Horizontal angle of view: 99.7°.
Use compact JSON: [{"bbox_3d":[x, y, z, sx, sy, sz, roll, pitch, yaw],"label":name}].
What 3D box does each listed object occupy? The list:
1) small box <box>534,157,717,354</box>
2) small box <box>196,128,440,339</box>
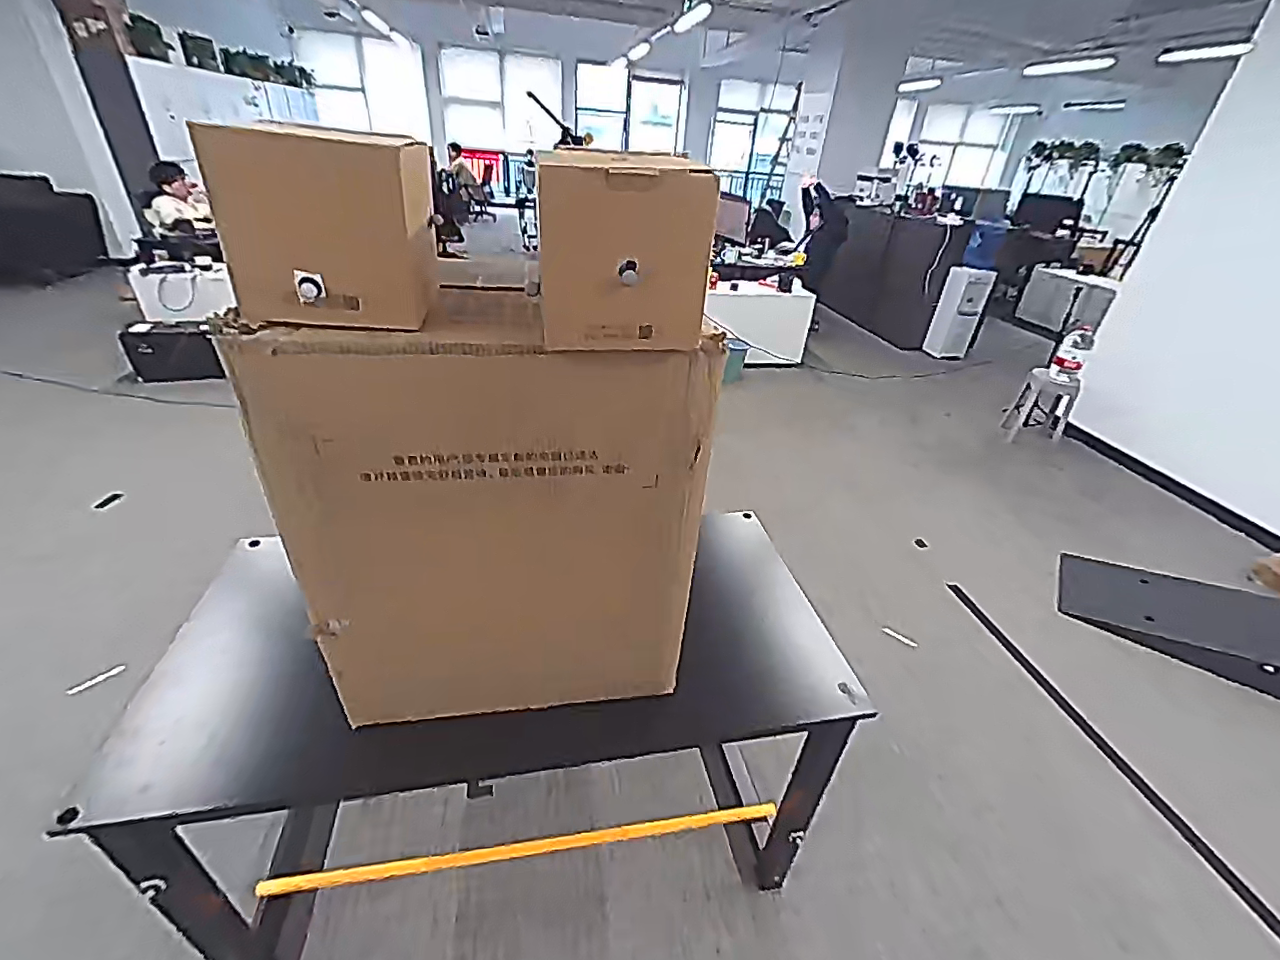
[{"bbox_3d":[-0.026,-0.244,0.586,0.168,0.176,0.179,-3,35,-10],"label":"small box"},{"bbox_3d":[-0.312,-0.261,0.572,0.168,0.176,0.179,-1,33,-12],"label":"small box"}]
